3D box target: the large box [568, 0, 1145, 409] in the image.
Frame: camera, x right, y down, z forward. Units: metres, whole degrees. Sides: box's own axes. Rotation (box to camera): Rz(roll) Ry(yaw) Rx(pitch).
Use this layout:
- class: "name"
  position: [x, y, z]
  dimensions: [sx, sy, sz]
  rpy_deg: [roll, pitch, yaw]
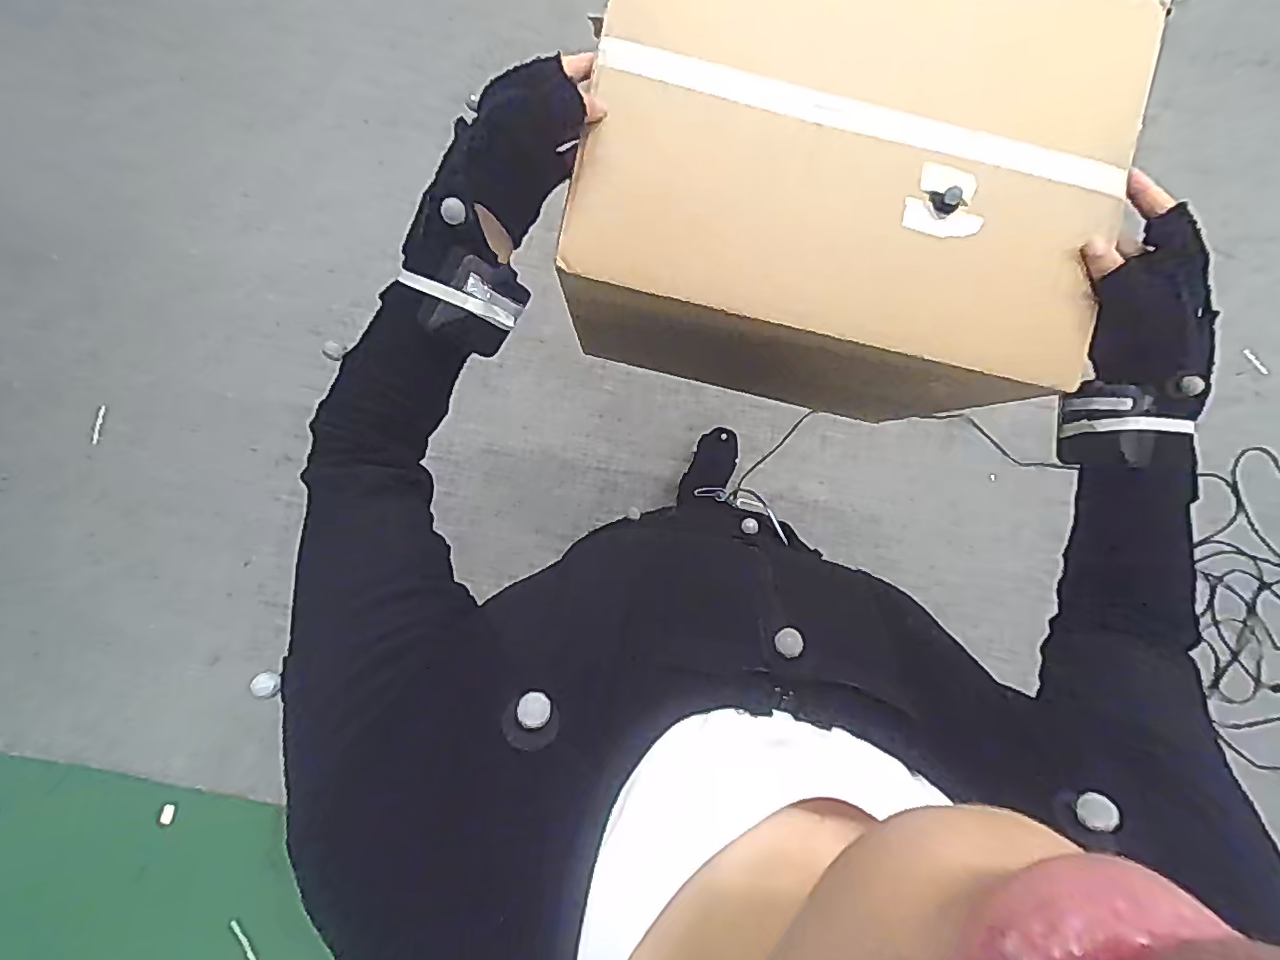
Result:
- class: "large box"
  position: [0.160, -0.276, 0.558]
  dimensions: [0.408, 0.320, 0.320]
  rpy_deg: [12, 92, -3]
